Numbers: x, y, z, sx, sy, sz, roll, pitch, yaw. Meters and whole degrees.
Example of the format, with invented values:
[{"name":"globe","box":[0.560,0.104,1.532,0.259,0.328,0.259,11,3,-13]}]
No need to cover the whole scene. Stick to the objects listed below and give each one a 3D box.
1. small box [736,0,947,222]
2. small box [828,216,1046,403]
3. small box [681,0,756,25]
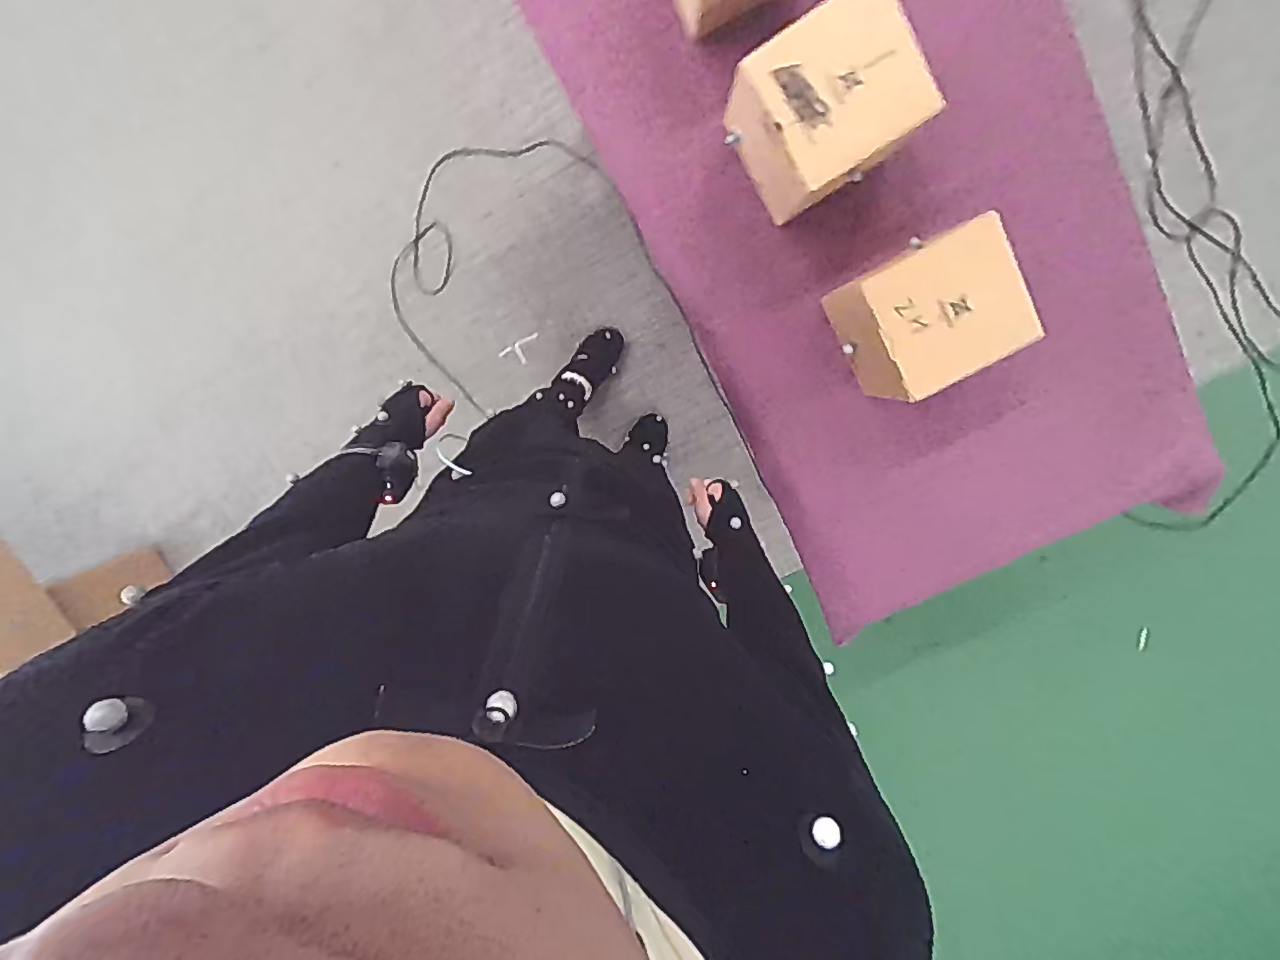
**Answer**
[{"name":"small box","box":[0.236,-0.461,0.686,0.179,0.176,0.168,-31,100,7]},{"name":"small box","box":[0.388,-0.222,0.737,0.179,0.176,0.168,-28,100,8]},{"name":"small box","box":[0.111,-0.693,0.637,0.168,0.176,0.179,-26,102,7]}]
